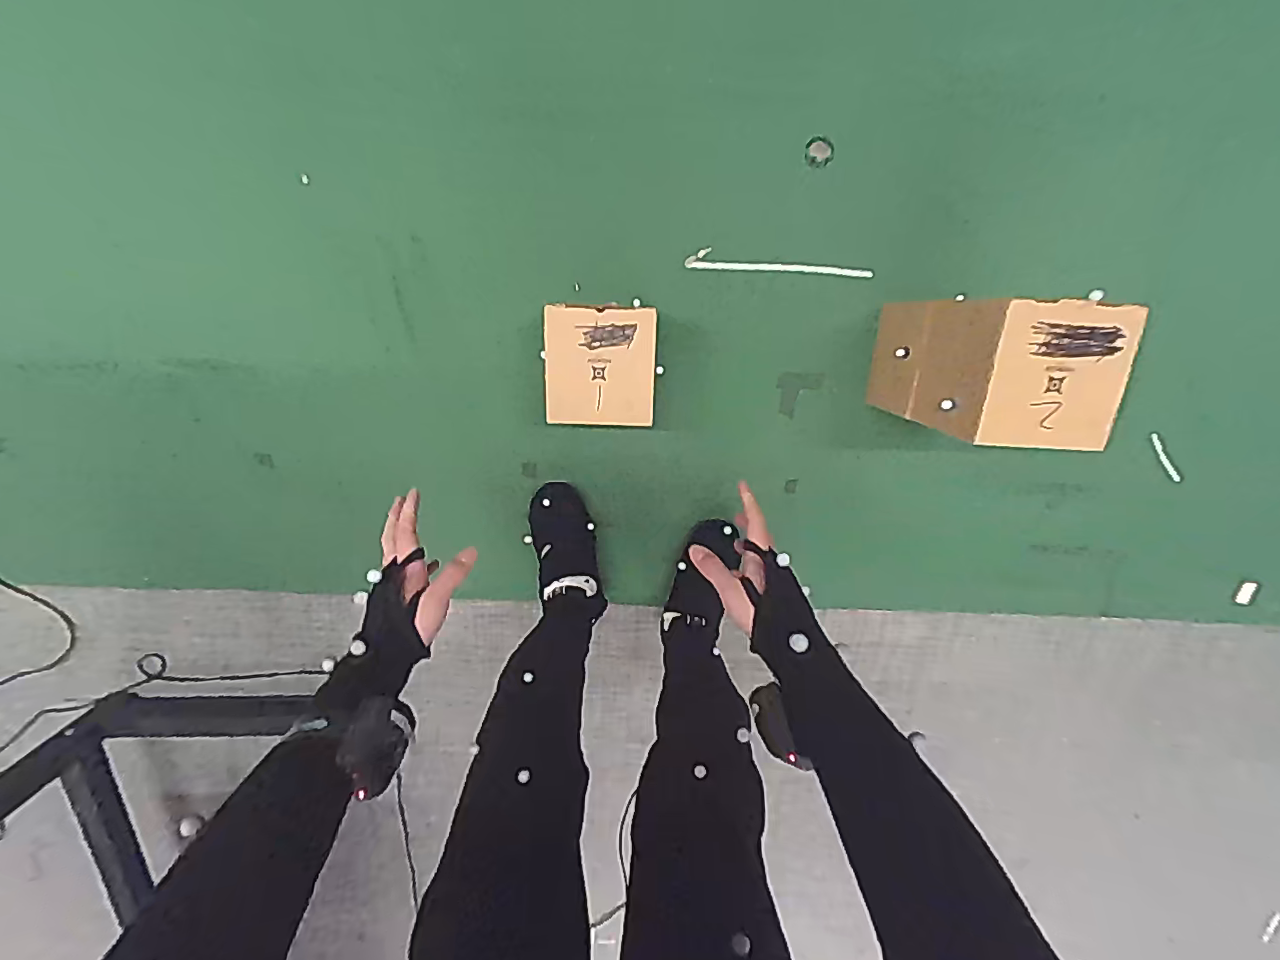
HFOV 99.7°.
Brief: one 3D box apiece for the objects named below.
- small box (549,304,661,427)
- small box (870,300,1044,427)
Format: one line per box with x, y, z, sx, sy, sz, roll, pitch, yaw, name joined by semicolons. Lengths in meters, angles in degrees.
-0.054;-0.190;0.880;0.168;0.176;0.179;2;108;1;small box
0.494;-0.192;0.874;0.168;0.176;0.179;4;108;-1;small box
